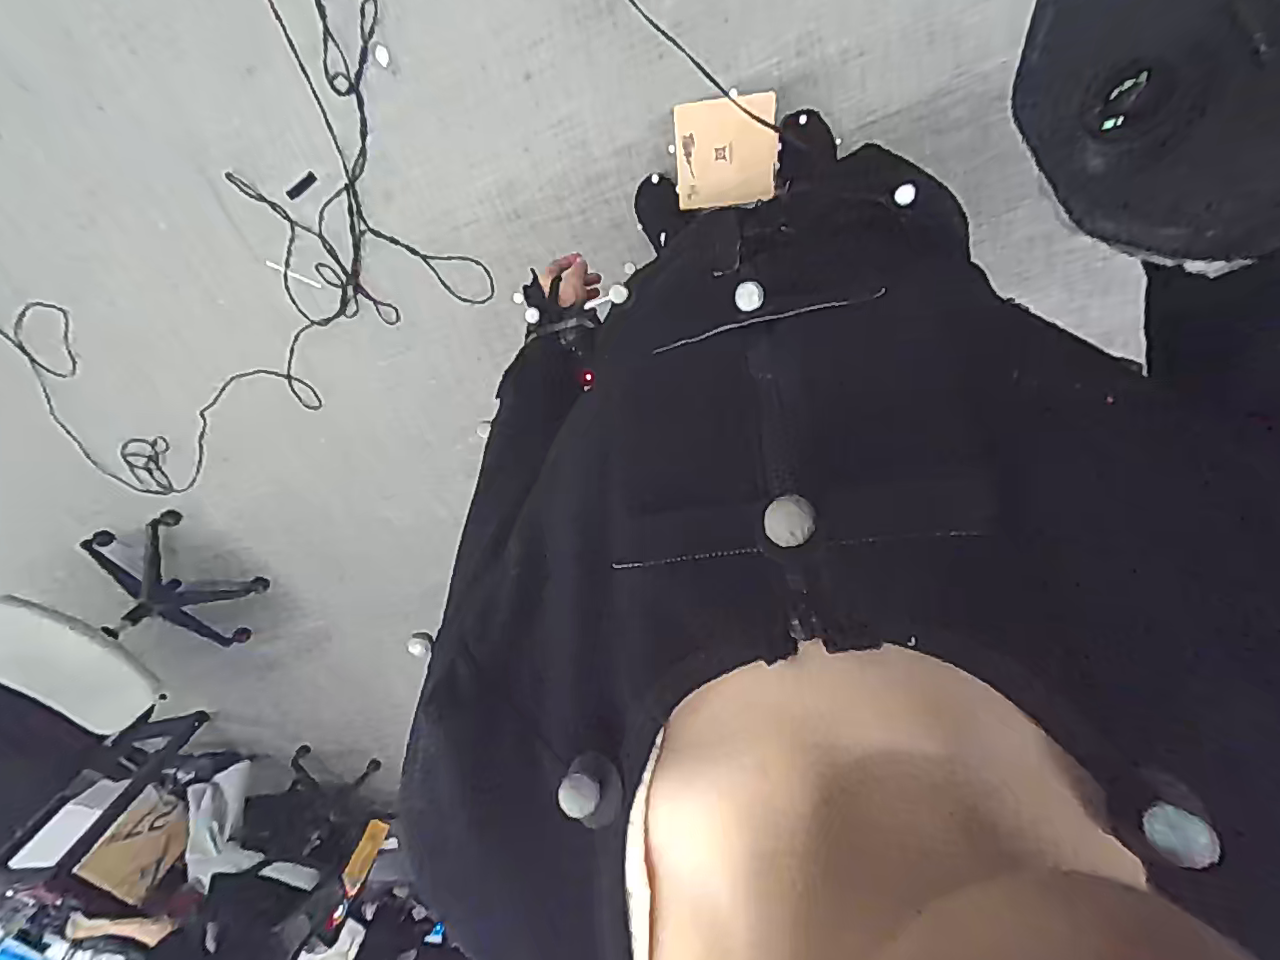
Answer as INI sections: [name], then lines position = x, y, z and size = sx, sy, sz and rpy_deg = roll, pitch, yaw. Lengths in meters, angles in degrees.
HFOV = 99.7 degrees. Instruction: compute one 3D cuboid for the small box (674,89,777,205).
[small box]
position = 0.159, -0.625, 1.019
size = 0.179, 0.176, 0.168
rpy_deg = -1, 122, 9
